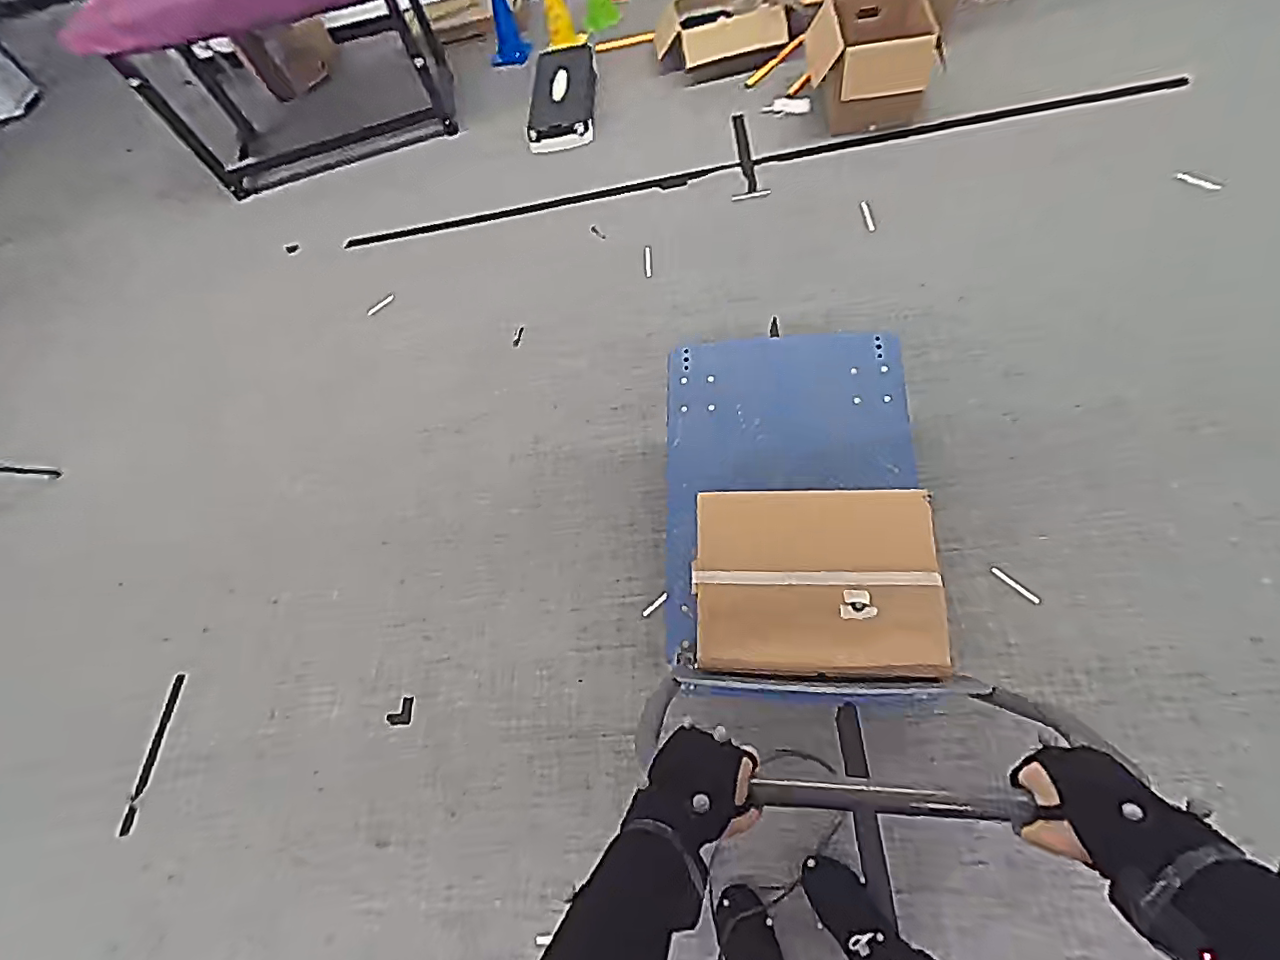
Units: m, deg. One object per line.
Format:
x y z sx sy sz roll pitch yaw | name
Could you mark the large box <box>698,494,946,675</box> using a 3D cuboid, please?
0.328 0.221 1.093 0.408 0.320 0.320 -1 74 9 | large box
